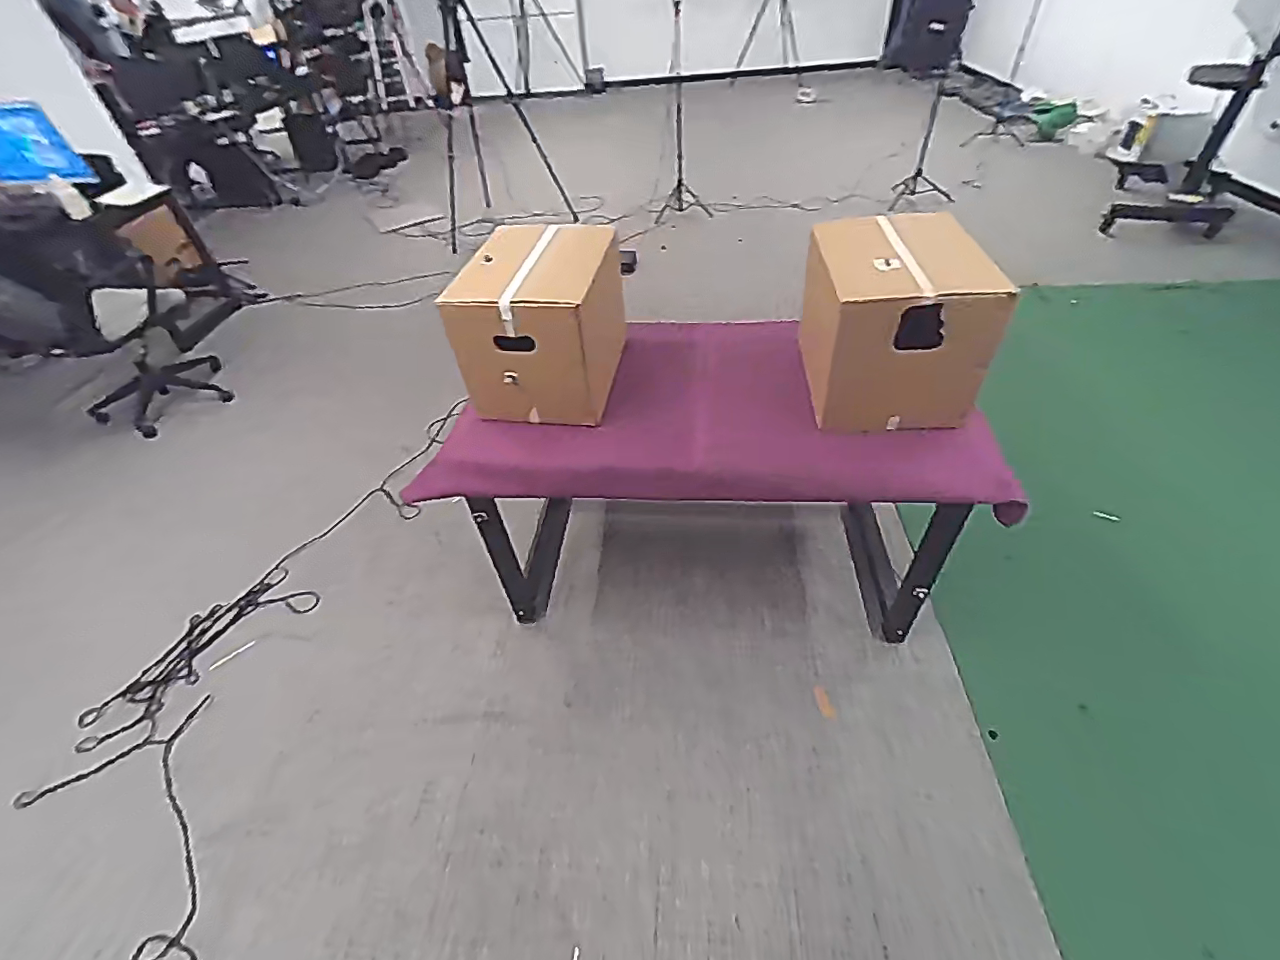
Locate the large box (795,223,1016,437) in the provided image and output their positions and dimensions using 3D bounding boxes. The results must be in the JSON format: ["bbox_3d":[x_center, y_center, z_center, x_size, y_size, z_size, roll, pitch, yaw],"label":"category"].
[{"bbox_3d":[0.550,-0.344,1.226,0.320,0.320,0.408,-2,45,8],"label":"large box"}]
